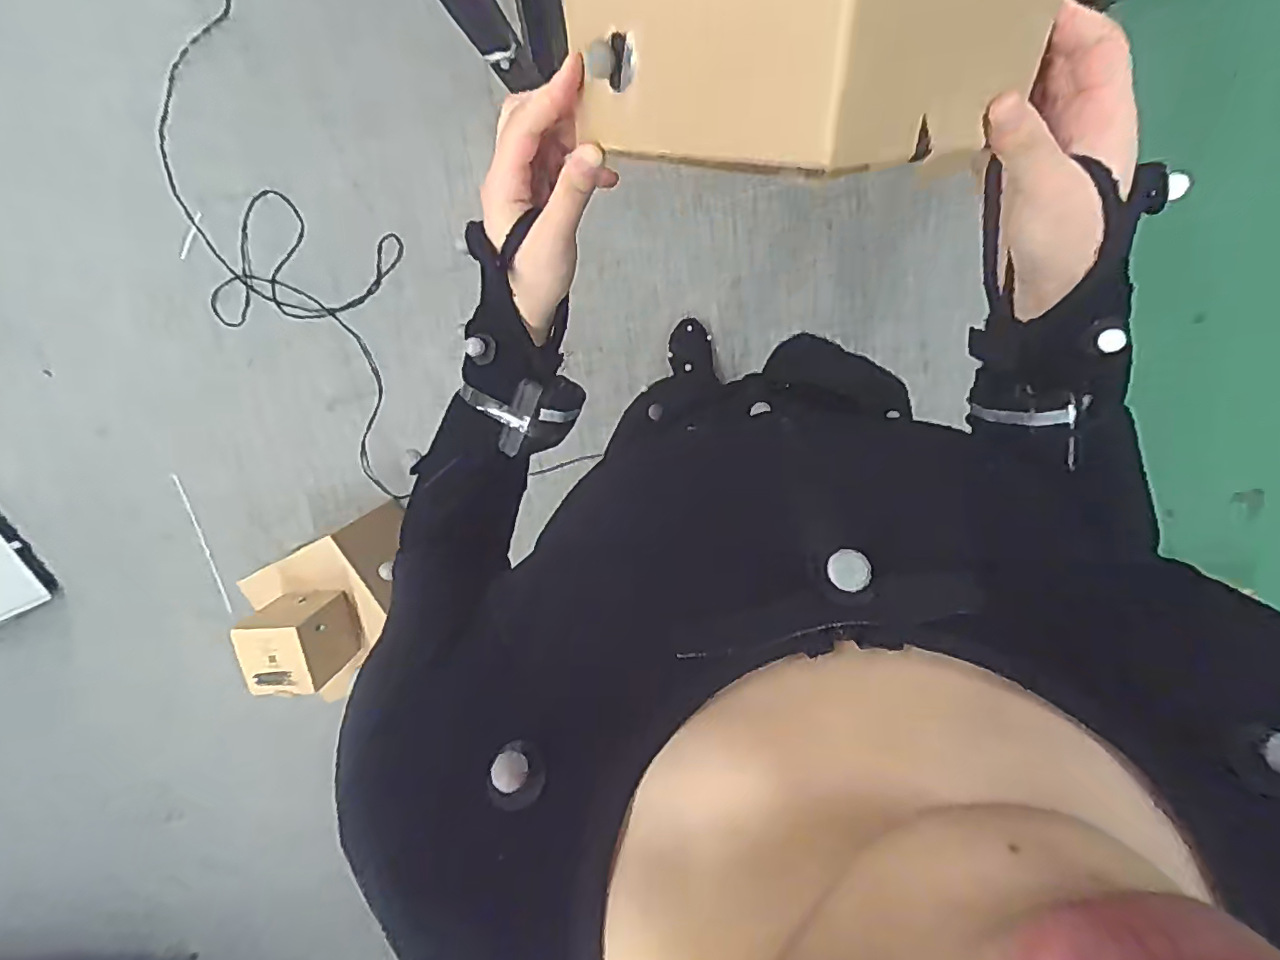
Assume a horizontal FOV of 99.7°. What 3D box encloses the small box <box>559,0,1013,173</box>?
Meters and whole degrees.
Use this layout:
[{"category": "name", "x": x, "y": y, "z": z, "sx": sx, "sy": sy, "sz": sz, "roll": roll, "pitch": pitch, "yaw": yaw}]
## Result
[{"category": "small box", "x": 0.070, "y": -0.255, "z": 0.261, "sx": 0.168, "sy": 0.179, "sz": 0.176, "roll": -26, "pitch": 130, "yaw": -29}]
